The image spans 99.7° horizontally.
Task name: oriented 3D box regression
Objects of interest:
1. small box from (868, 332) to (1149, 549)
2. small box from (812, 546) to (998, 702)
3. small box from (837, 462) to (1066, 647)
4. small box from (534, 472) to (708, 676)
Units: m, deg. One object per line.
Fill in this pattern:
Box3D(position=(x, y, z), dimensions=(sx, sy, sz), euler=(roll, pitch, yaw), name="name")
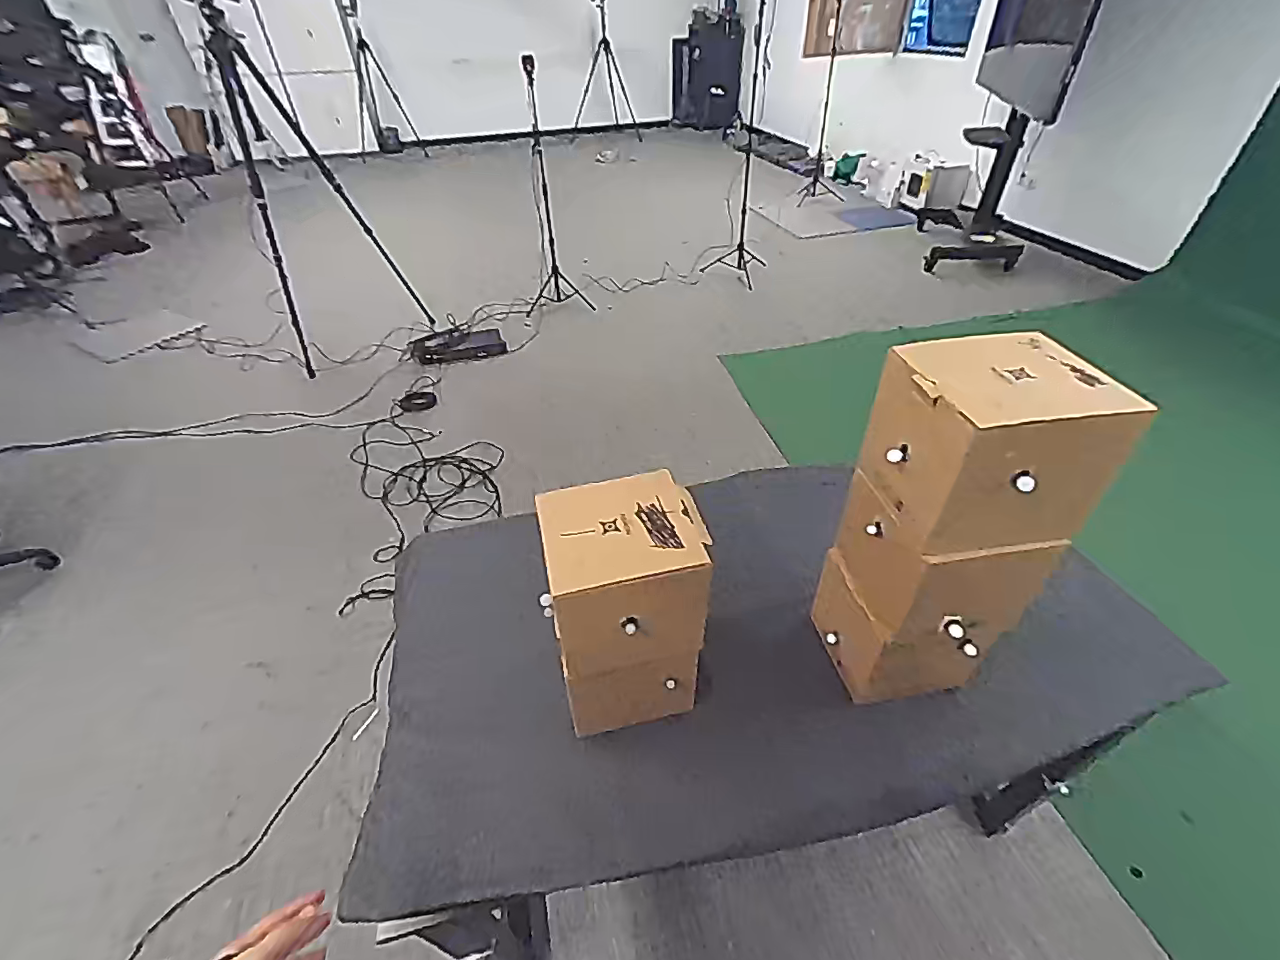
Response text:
Box3D(position=(0.368, -0.041, 0.589), dimensions=(0.179, 0.176, 0.168), euler=(-7, 41, -2), name="small box")
Box3D(position=(0.379, 0.203, 0.804), dimensions=(0.179, 0.176, 0.168), euler=(-8, 40, -6), name="small box")
Box3D(position=(0.373, 0.085, 0.693), dimensions=(0.168, 0.176, 0.179), euler=(-8, 42, -4), name="small box")
Box3D(position=(-0.028, 0.117, 0.676), dimensions=(0.179, 0.176, 0.168), euler=(-11, 42, -9), name="small box")
